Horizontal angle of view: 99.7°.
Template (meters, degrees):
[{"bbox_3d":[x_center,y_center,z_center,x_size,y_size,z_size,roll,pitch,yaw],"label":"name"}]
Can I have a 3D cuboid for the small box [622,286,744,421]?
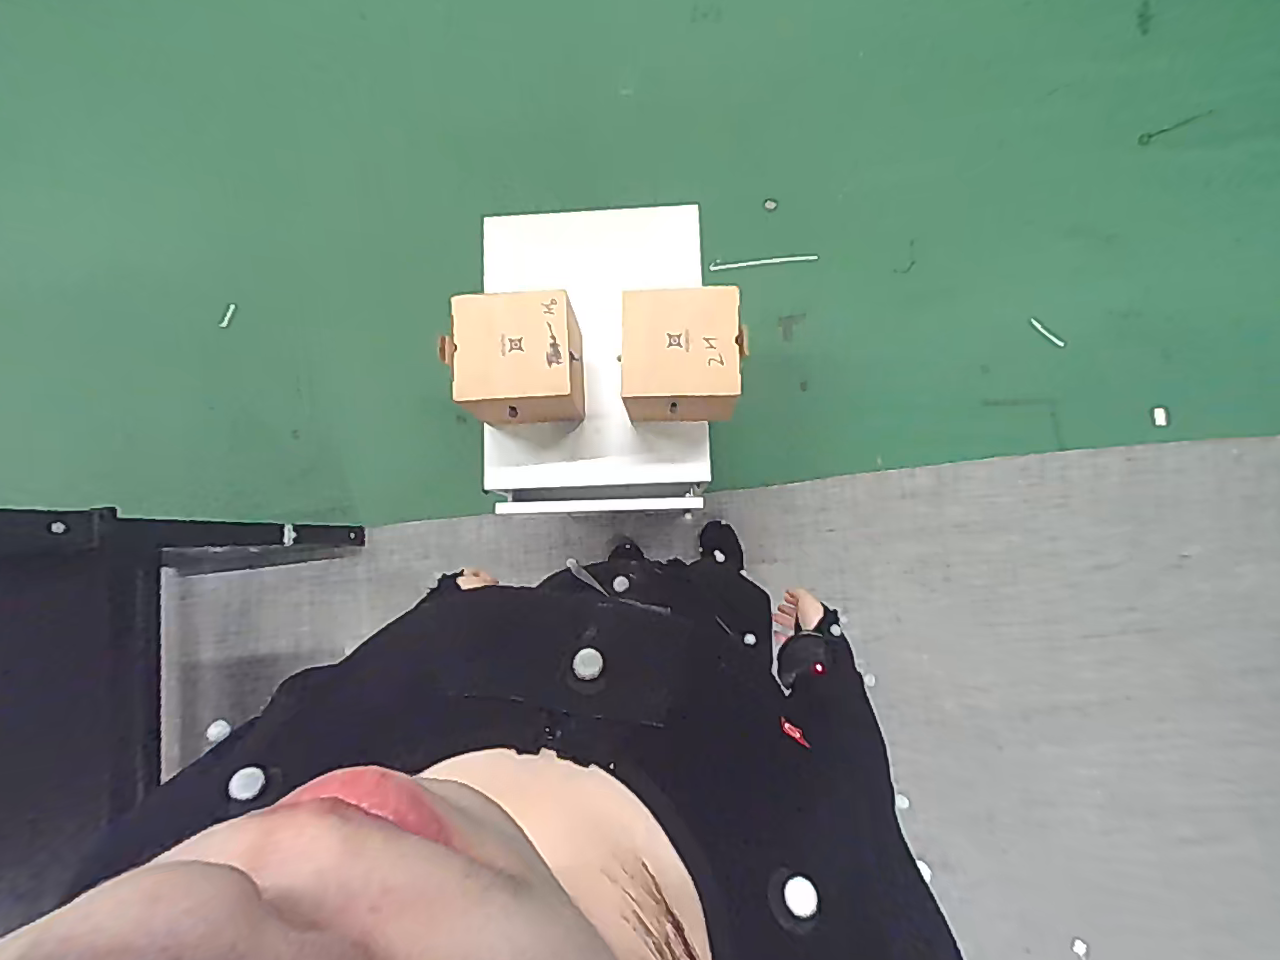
[{"bbox_3d":[0.066,-0.189,0.851,0.179,0.176,0.168,-1,84,3],"label":"small box"}]

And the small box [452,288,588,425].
[{"bbox_3d":[-0.184,-0.187,0.865,0.179,0.176,0.168,-4,84,2],"label":"small box"}]
